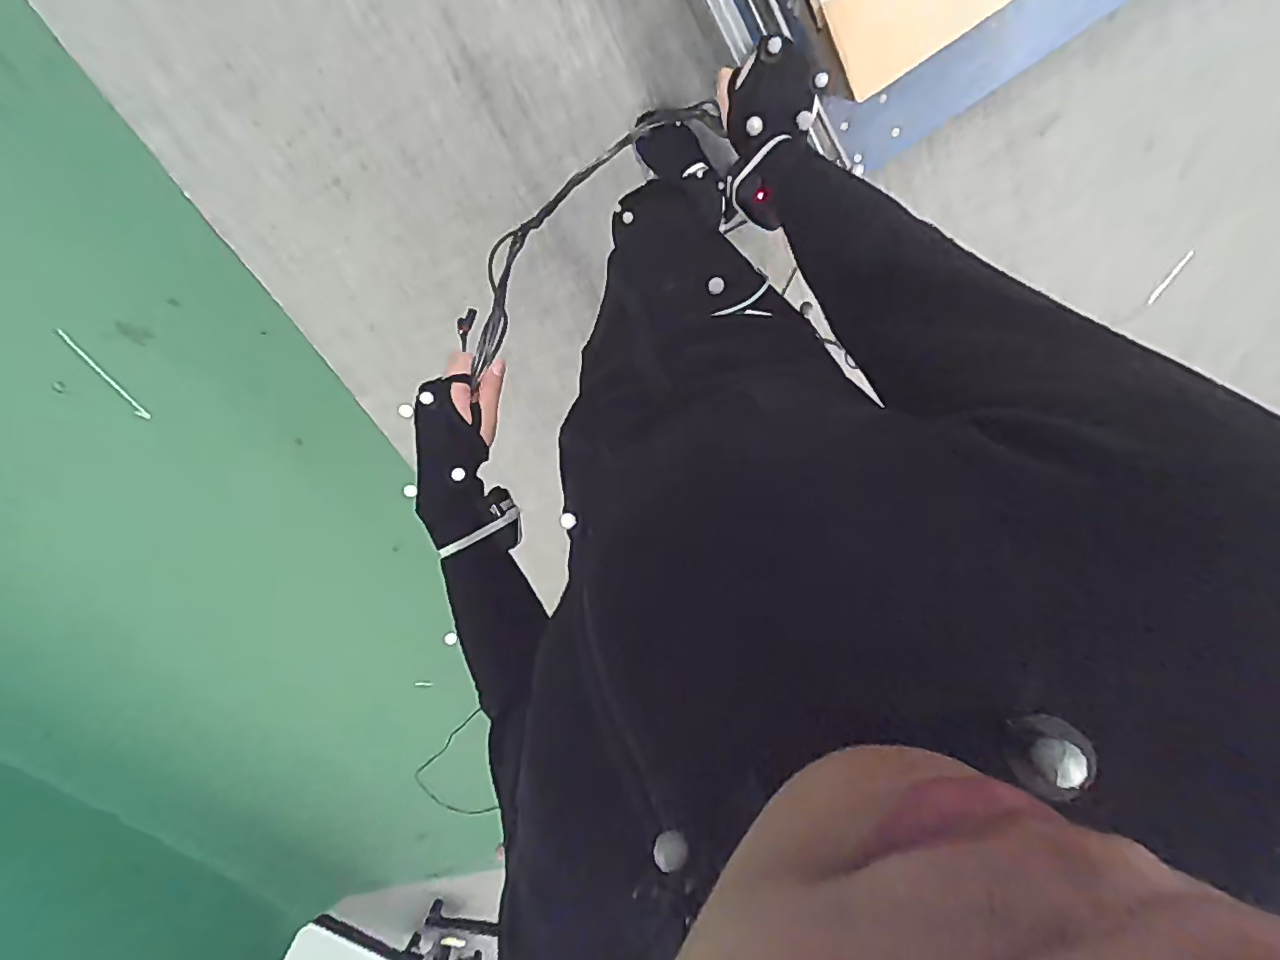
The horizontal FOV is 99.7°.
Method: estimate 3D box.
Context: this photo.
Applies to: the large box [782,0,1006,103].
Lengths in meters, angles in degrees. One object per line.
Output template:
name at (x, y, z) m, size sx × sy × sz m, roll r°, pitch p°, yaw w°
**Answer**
large box at (0.429, -0.863, 0.827) m, size 0.408 × 0.320 × 0.320 m, roll -25°, pitch 119°, yaw 24°
